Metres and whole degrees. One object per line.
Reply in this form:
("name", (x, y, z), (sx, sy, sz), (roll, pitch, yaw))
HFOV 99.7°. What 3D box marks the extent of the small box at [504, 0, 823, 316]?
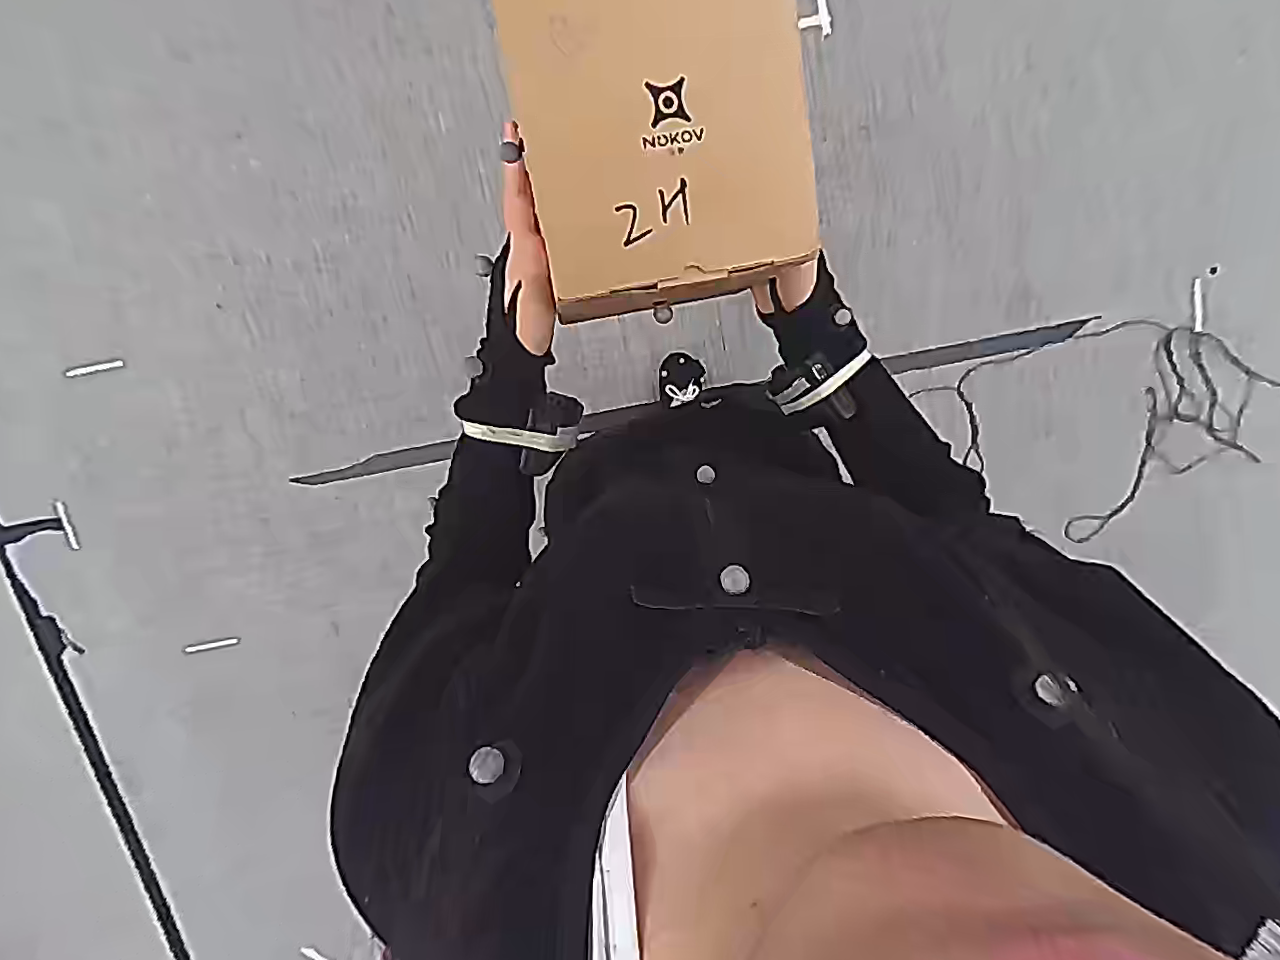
("small box", (0.007, -0.224, 0.381), (0.168, 0.176, 0.179), (-12, 103, -5))
